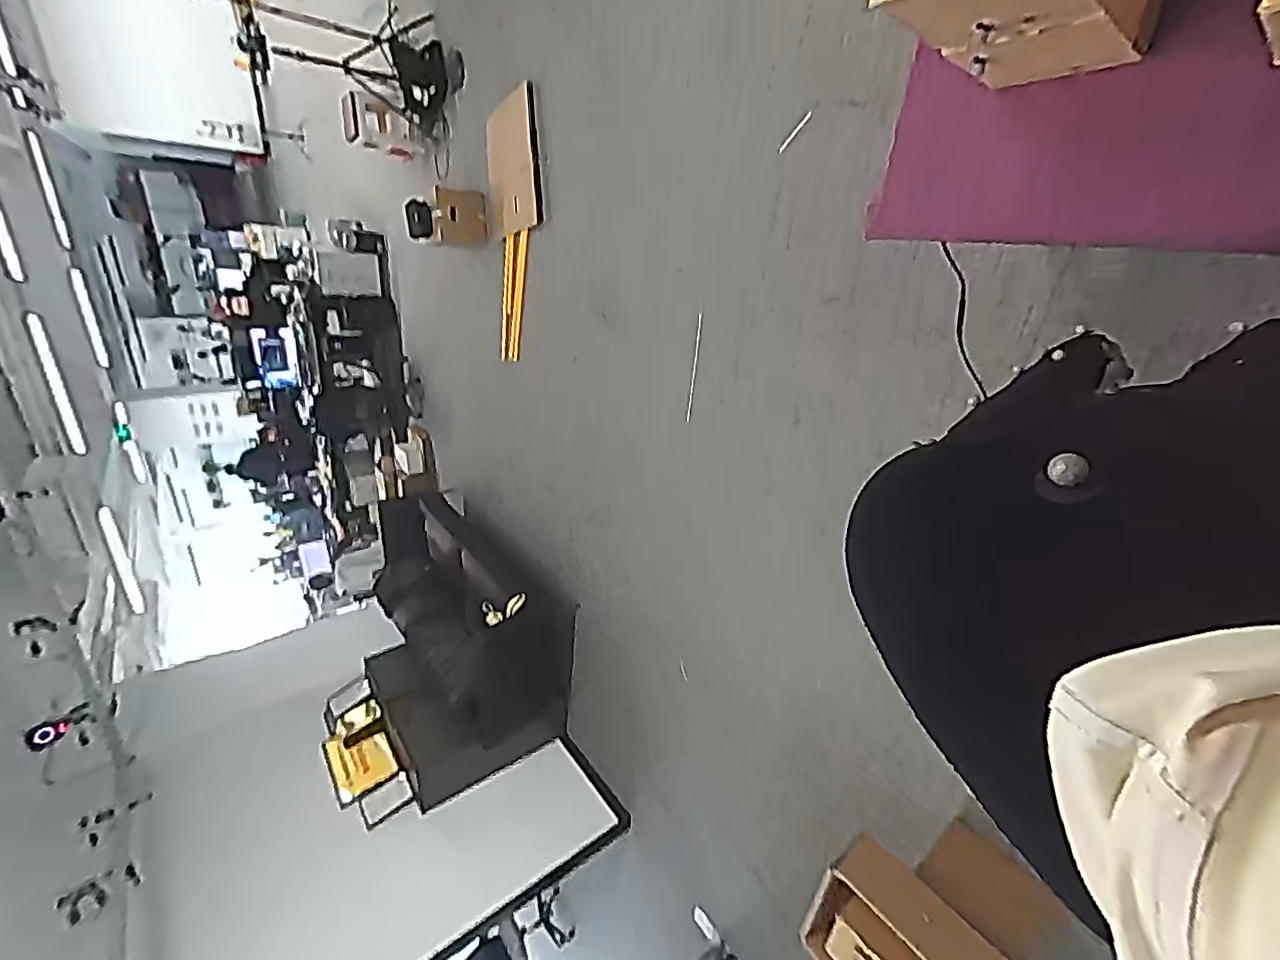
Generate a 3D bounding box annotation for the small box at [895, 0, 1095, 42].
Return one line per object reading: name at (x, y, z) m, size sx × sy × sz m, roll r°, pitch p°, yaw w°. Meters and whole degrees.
small box at (0.352, -0.565, 0.516) m, size 0.168 × 0.176 × 0.179 m, roll 27°, pitch 121°, yaw 45°

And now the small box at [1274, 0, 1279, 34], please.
small box at (0.656, -0.484, 0.429) m, size 0.168 × 0.176 × 0.179 m, roll 27°, pitch 123°, yaw 45°
